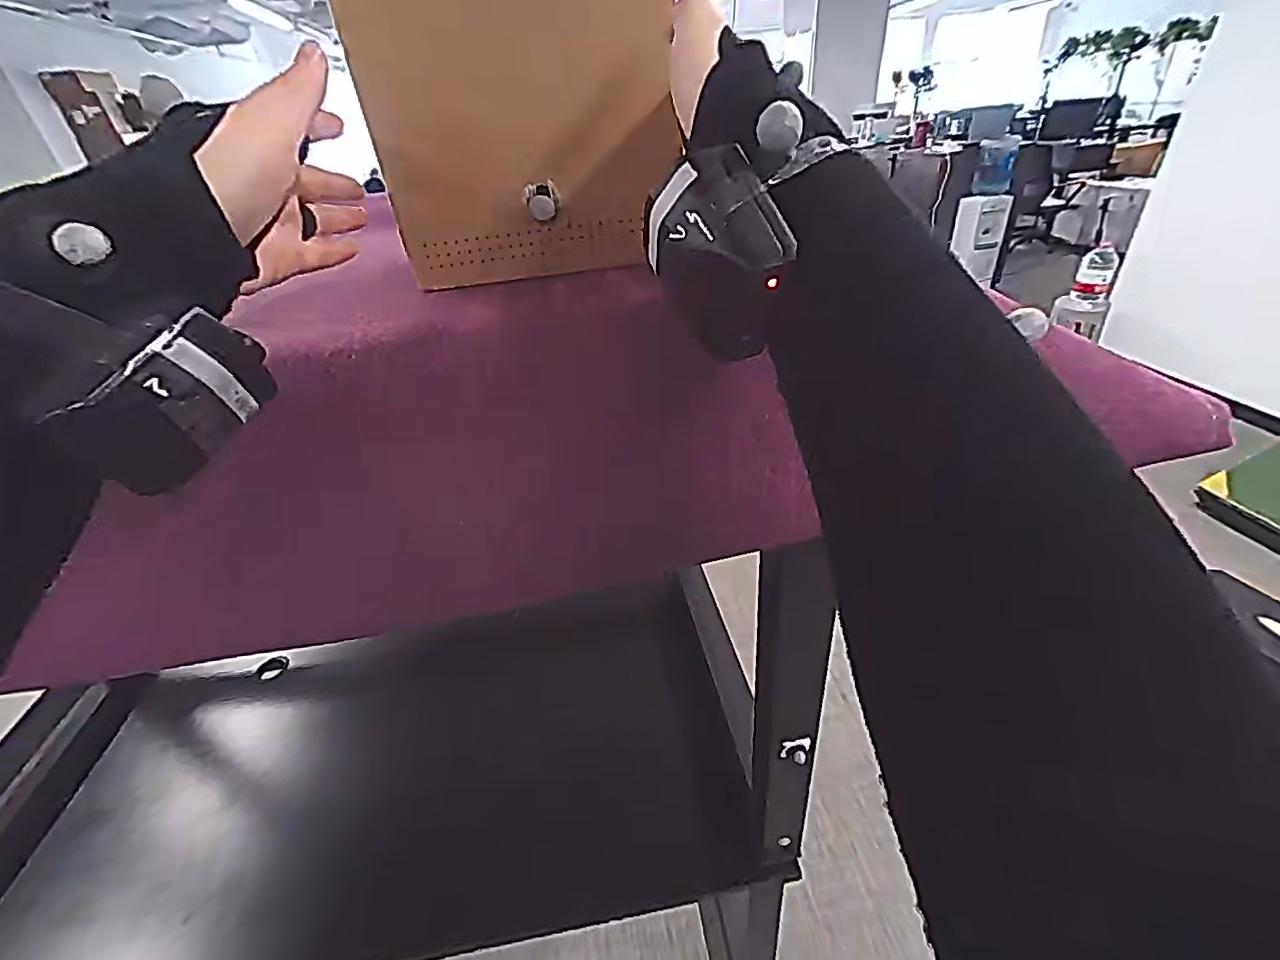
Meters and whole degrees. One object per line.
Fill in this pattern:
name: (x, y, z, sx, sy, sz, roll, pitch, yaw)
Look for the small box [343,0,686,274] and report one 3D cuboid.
small box: (-0.066, -0.248, 0.364, 0.179, 0.176, 0.168, -8, 32, -3)
